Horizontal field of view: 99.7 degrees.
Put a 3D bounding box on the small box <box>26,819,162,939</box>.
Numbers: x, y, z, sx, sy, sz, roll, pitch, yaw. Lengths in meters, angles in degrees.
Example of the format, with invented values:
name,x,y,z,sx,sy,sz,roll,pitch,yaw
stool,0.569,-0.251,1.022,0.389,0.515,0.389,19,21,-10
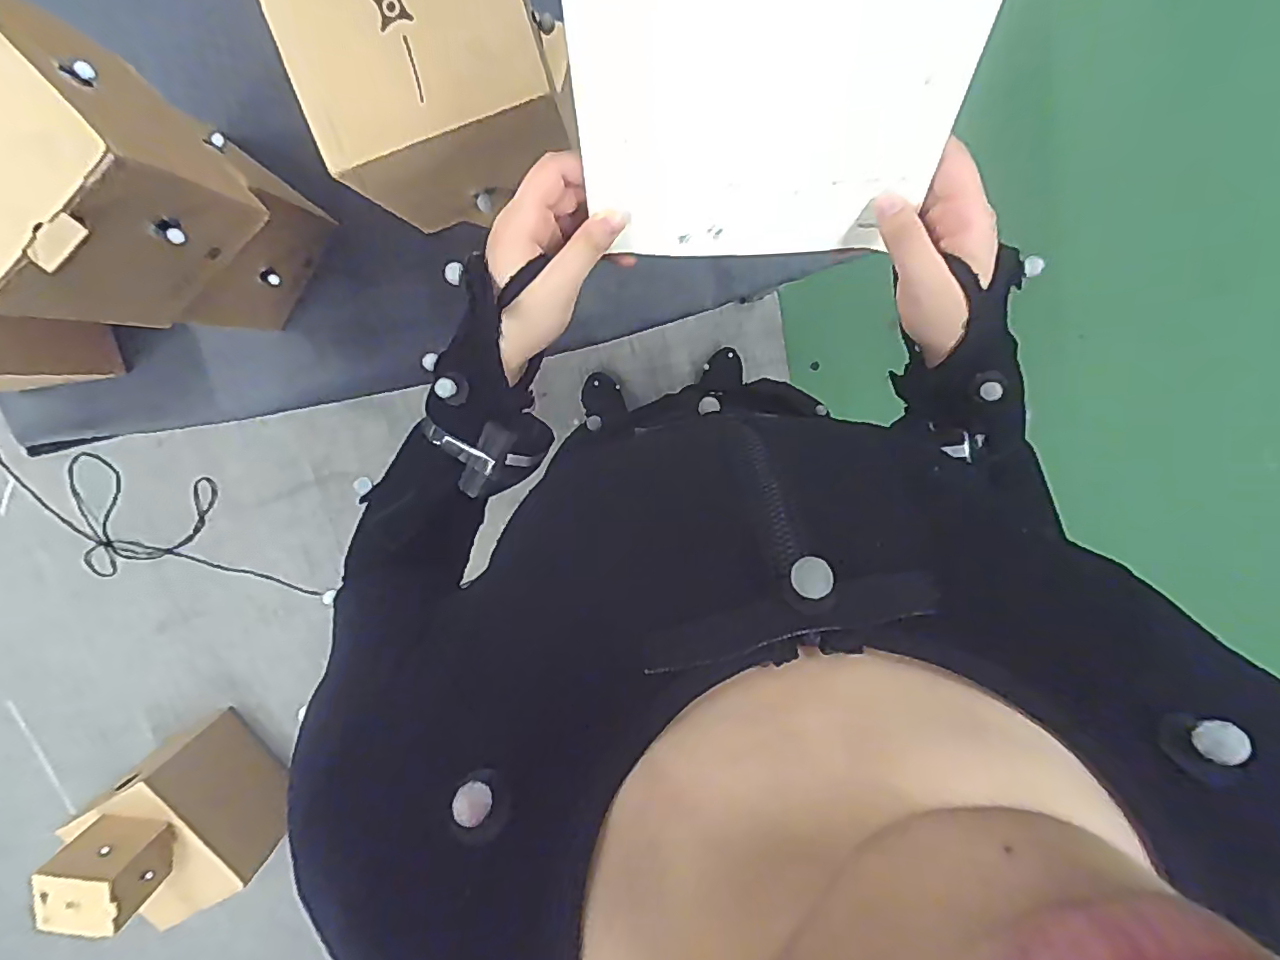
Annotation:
name,x,y,z,sx,sy,sz,roll,pitch,yaw
small box,-1.323,0.971,1.326,0.179,0.176,0.168,8,102,-4

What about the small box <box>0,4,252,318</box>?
name,x,y,z,sx,sy,sz,roll,pitch,yaw
small box,-0.482,-0.251,0.444,0.168,0.176,0.179,-41,98,7

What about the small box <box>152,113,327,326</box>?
name,x,y,z,sx,sy,sz,roll,pitch,yaw
small box,-0.499,-0.289,0.602,0.179,0.176,0.168,36,99,-7

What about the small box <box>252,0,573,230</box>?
name,x,y,z,sx,sy,sz,roll,pitch,yaw
small box,-0.164,-0.326,0.424,0.168,0.176,0.179,-17,102,5

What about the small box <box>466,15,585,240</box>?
name,x,y,z,sx,sy,sz,roll,pitch,yaw
small box,-0.167,-0.375,0.581,0.179,0.176,0.168,16,102,-2
